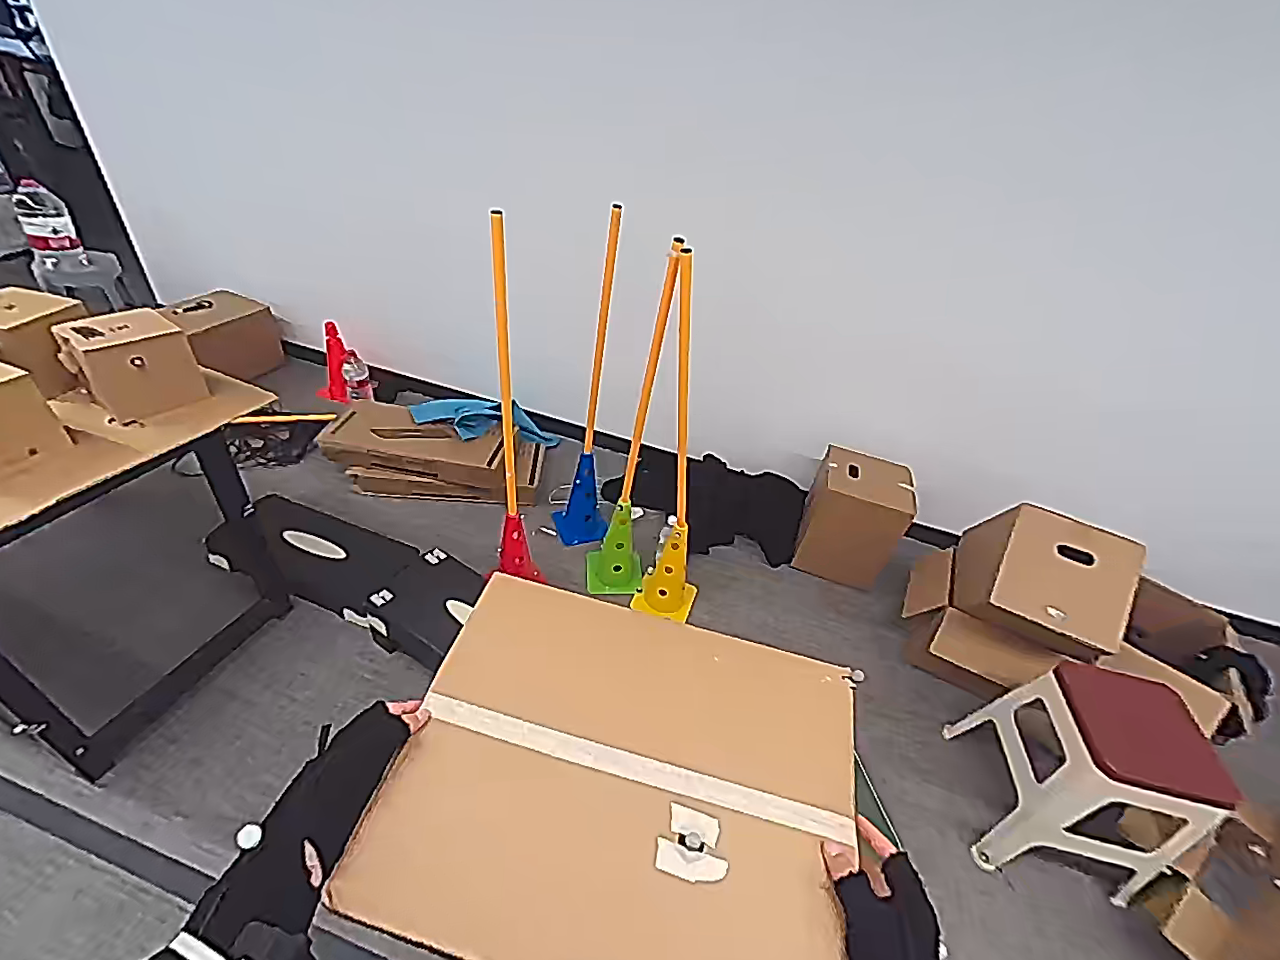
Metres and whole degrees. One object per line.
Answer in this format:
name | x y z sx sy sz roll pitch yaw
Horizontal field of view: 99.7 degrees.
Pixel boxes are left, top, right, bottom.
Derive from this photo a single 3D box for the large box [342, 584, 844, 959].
large box | -0.025 0.371 0.610 0.408 0.320 0.320 14 46 6
